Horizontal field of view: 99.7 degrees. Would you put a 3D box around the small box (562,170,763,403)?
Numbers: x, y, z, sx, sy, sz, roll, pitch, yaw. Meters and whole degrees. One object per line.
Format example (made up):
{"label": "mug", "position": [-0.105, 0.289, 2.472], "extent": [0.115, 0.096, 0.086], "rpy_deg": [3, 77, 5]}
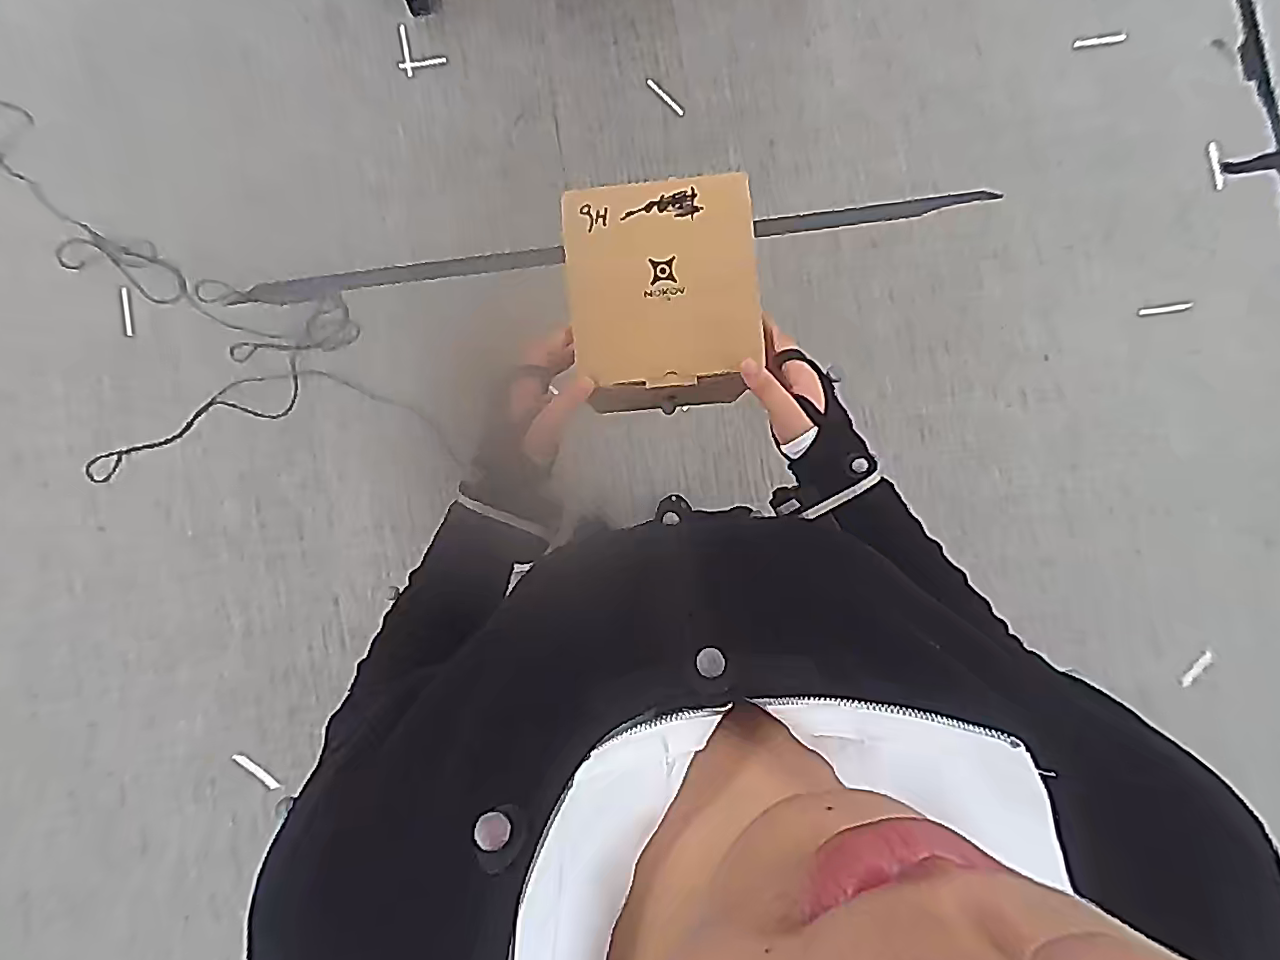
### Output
{"label": "small box", "position": [0.023, -0.176, 0.549], "extent": [0.168, 0.176, 0.179], "rpy_deg": [-6, 90, 2]}
